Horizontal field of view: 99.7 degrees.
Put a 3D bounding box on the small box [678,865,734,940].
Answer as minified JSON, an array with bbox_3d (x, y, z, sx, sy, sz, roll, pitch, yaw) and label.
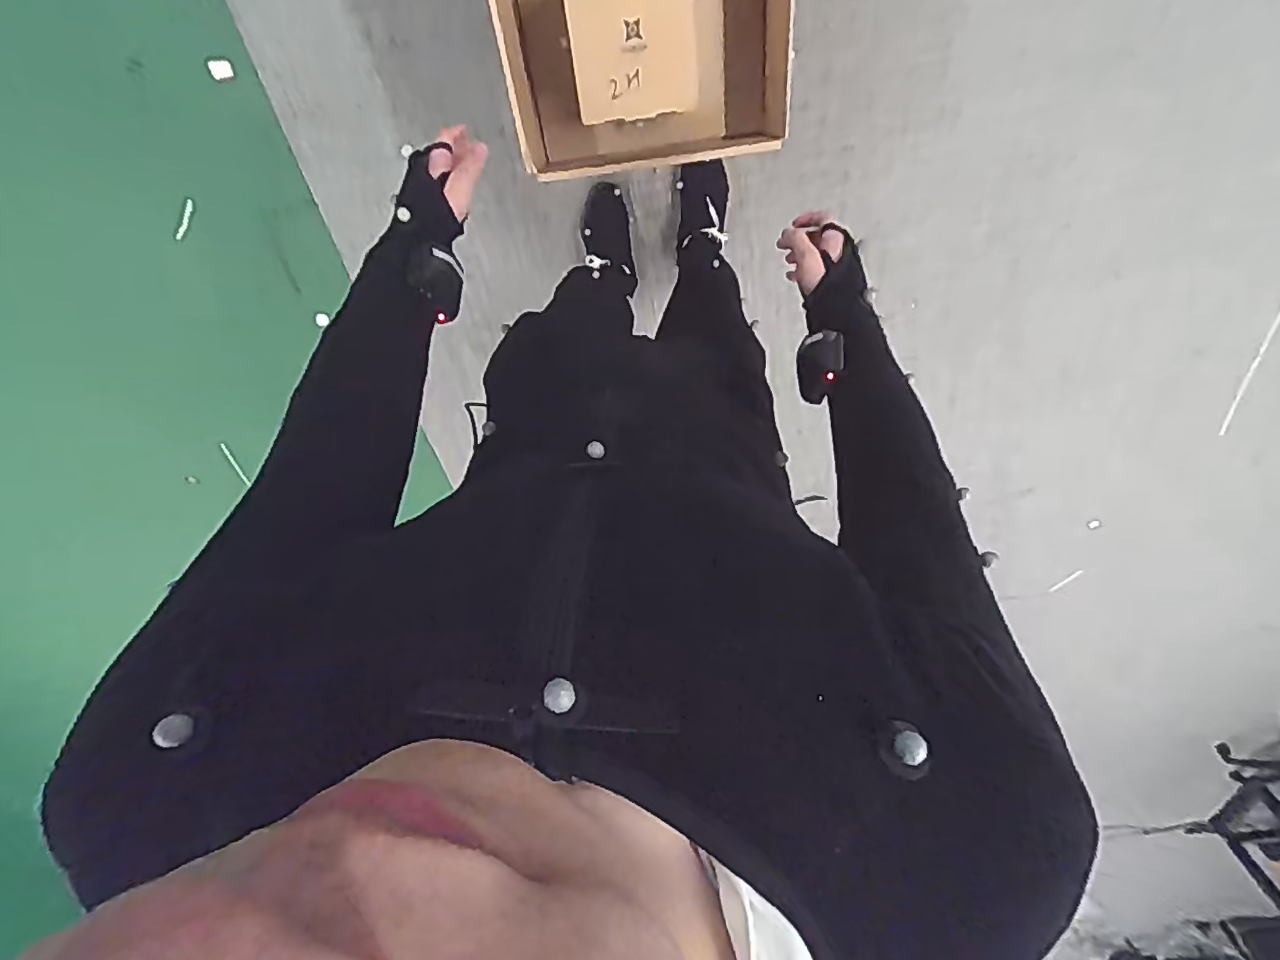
[{"bbox_3d":[0.230,1.468,1.886,0.168,0.176,0.179,-9,125,7],"label":"small box"}]

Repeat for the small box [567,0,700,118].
[{"bbox_3d":[-0.008,-0.623,0.762,0.168,0.176,0.179,-5,125,4],"label":"small box"}]
